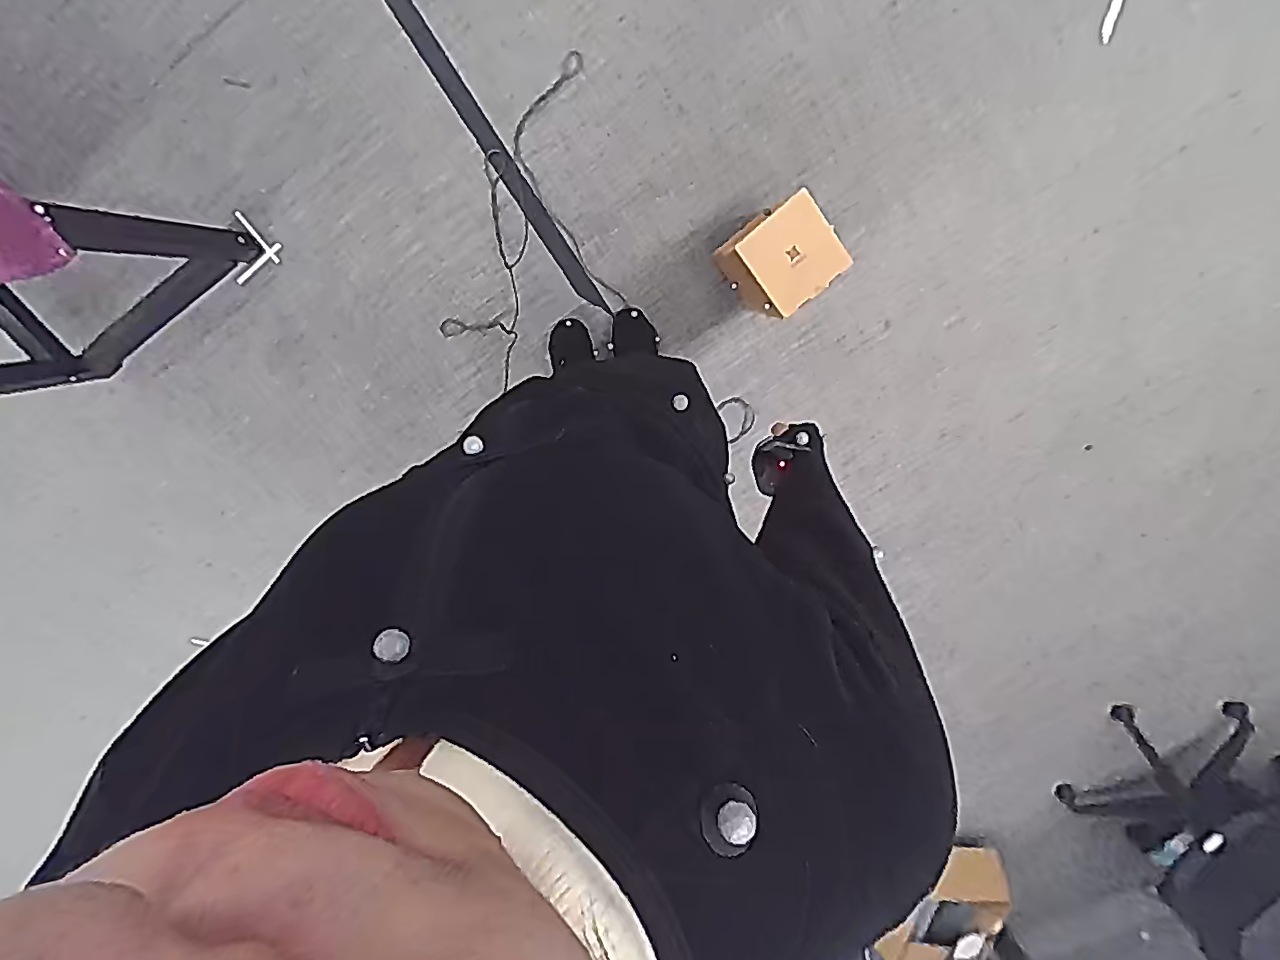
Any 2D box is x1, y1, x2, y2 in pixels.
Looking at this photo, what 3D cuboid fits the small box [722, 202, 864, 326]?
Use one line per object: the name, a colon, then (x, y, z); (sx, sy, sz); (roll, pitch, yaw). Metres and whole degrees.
small box: (0.305, -0.427, 1.080); (0.179, 0.176, 0.168); (-49, 122, -3)
